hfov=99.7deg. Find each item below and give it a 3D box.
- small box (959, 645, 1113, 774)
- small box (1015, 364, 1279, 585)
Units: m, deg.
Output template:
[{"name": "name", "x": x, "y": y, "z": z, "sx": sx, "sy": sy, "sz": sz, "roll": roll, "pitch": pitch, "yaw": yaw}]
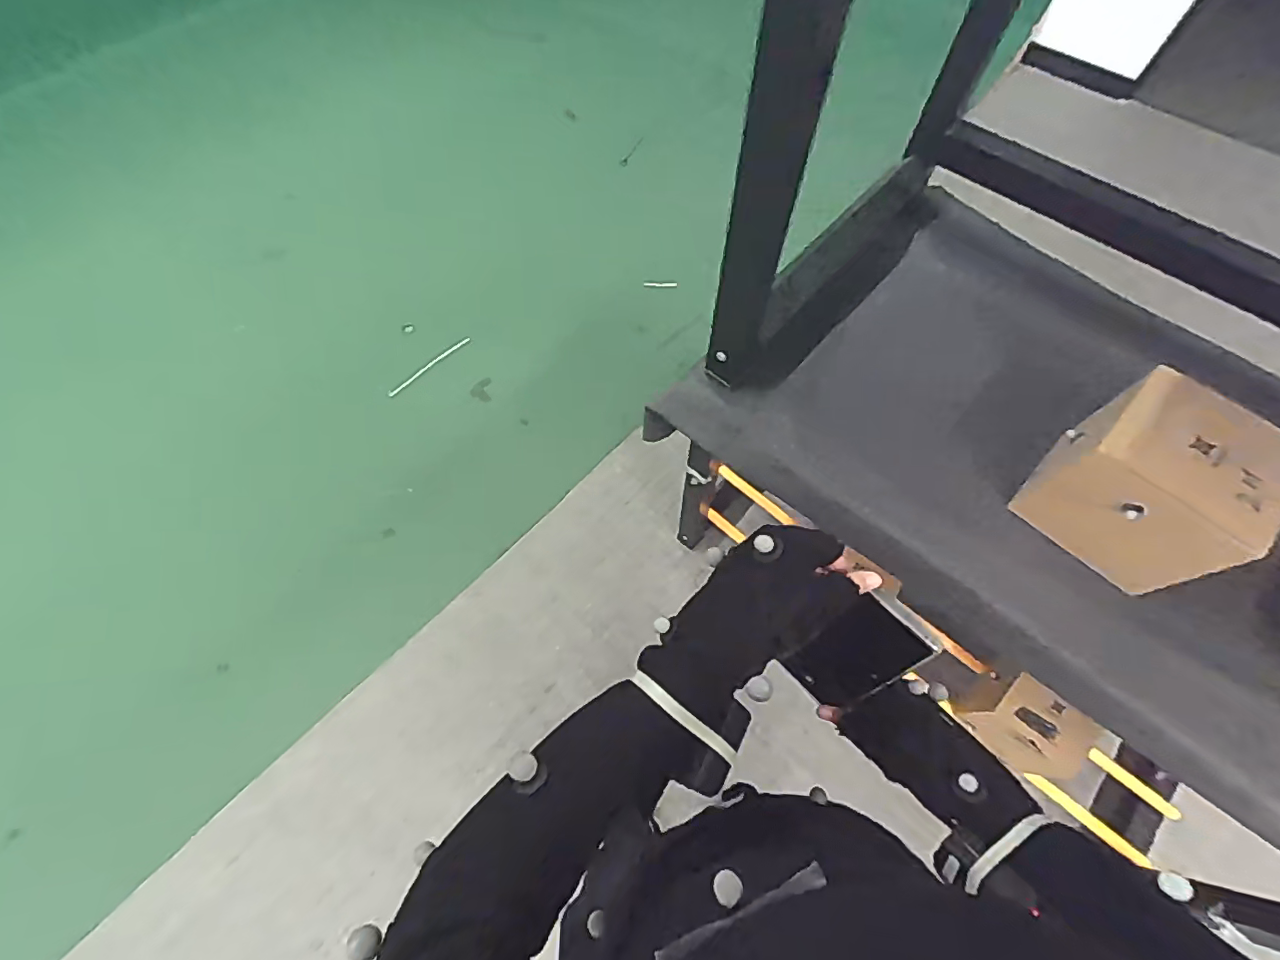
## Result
[{"name": "small box", "x": 0.803, "y": 0.475, "z": 1.120, "sx": 0.179, "sy": 0.176, "sz": 0.168, "roll": -42, "pitch": 71, "yaw": -17}, {"name": "small box", "x": 0.615, "y": 0.002, "z": 0.659, "sx": 0.168, "sy": 0.176, "sz": 0.179, "roll": -42, "pitch": 71, "yaw": -16}]
